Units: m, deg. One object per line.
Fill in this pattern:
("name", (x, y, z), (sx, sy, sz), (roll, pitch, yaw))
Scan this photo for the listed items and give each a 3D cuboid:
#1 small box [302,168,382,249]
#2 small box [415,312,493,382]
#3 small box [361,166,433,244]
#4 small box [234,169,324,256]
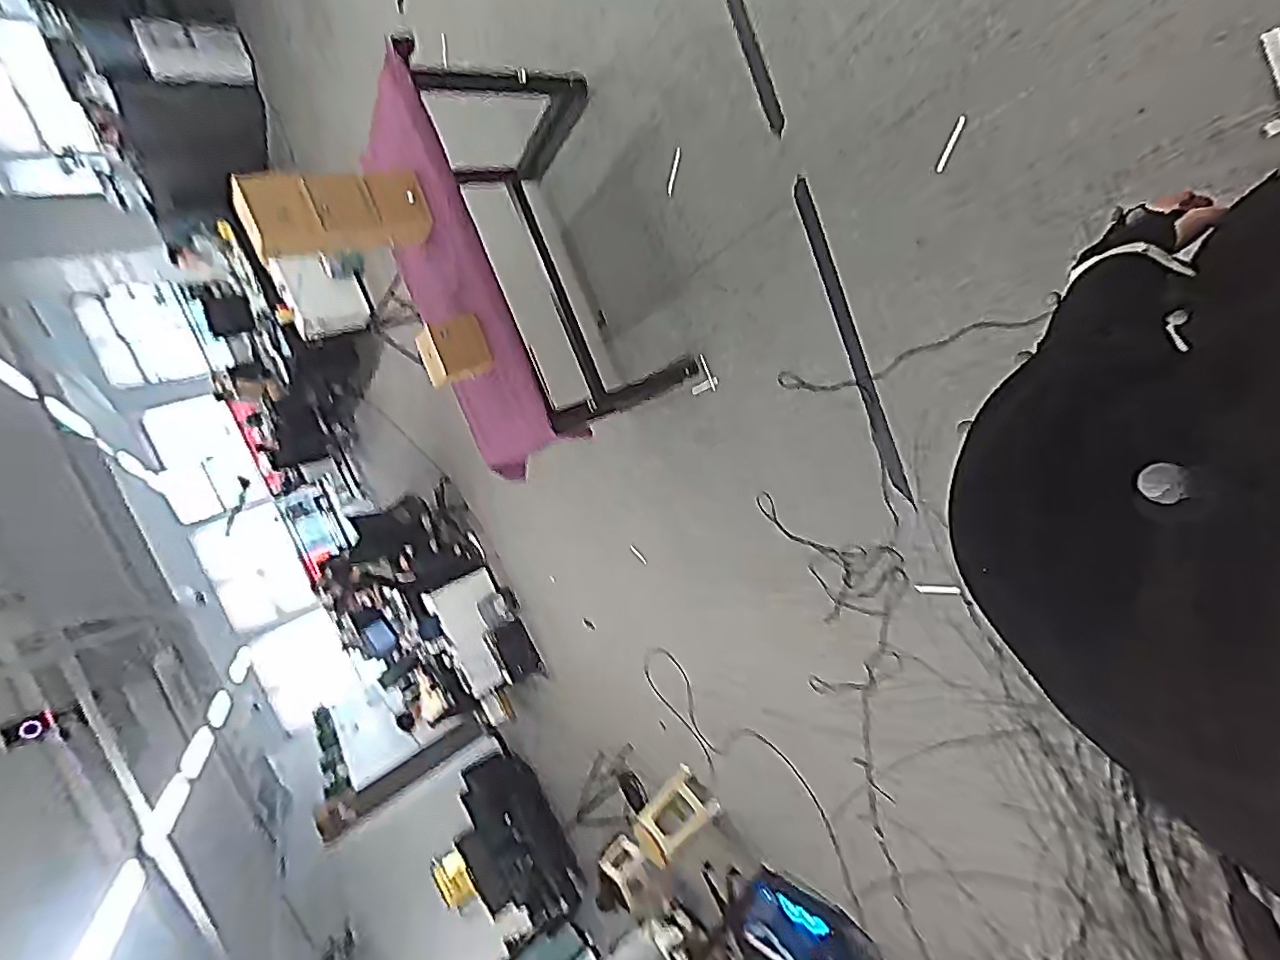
("small box", (-0.912, -0.827, 1.649), (0.179, 0.176, 0.168), (-4, 108, 55))
("small box", (-0.615, -0.445, 1.792), (0.168, 0.176, 0.179), (-7, 106, 56))
("small box", (-0.792, -0.886, 1.744), (0.179, 0.176, 0.168), (-9, 105, 55))
("small box", (-1.031, -0.768, 1.553), (0.179, 0.176, 0.168), (-5, 108, 55))
